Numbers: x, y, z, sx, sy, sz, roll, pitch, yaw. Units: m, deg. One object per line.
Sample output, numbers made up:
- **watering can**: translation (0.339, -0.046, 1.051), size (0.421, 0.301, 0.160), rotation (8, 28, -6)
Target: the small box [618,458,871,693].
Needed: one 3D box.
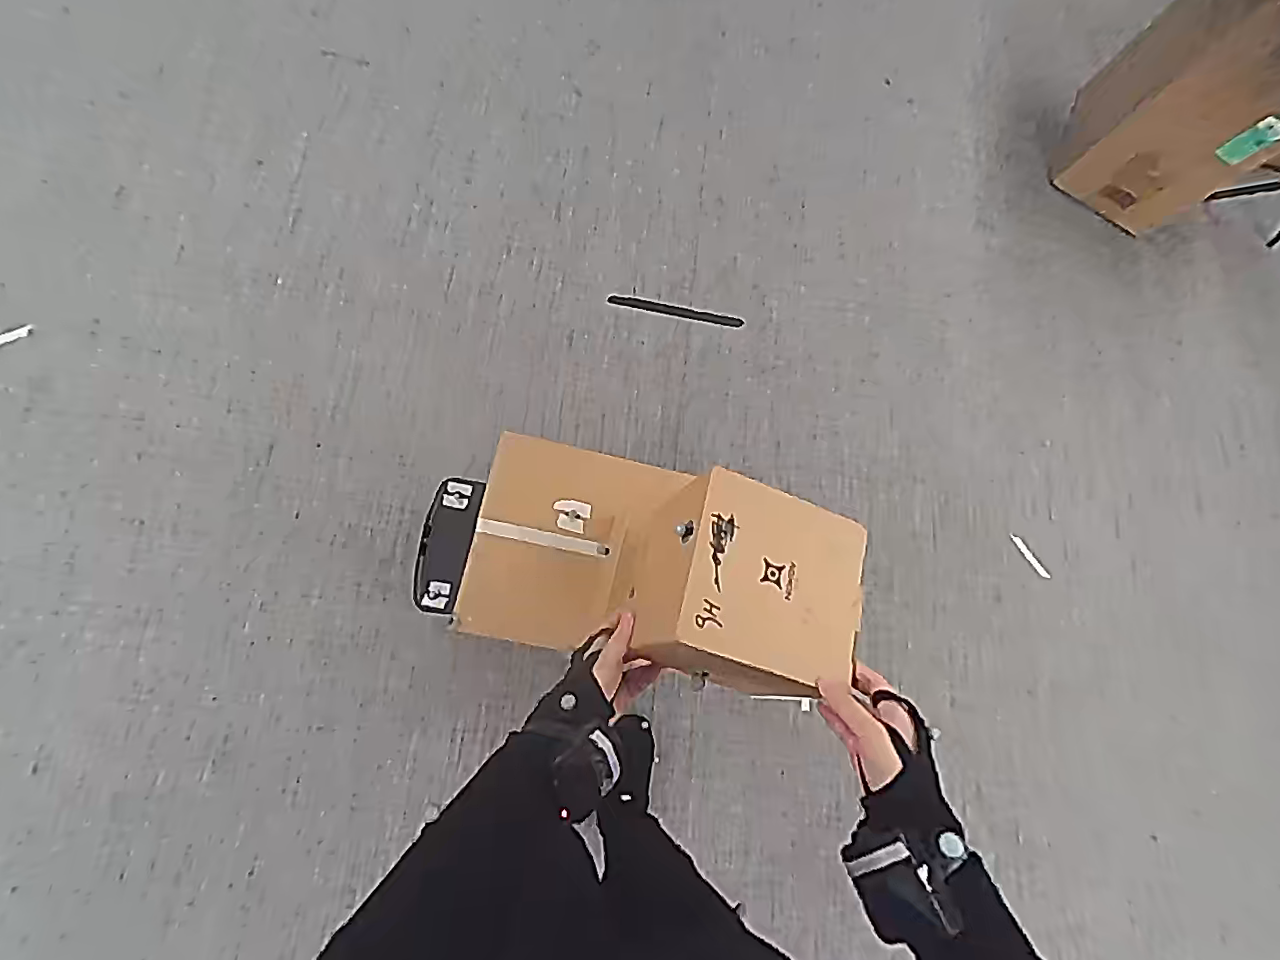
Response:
- **small box**: translation (0.100, 0.105, 0.549), size (0.179, 0.176, 0.168), rotation (23, 64, -13)

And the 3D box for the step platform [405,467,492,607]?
- **step platform**: translation (-0.146, 0.194, 1.204), size (0.684, 0.204, 0.286), rotation (15, 75, -7)

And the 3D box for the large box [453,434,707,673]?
- **large box**: translation (-0.075, 0.143, 0.980), size (0.408, 0.320, 0.320), rotation (13, 75, -7)

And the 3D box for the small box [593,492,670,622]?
- **small box**: translation (0.044, 0.129, 0.751), size (0.179, 0.176, 0.168), rotation (16, 75, -7)
